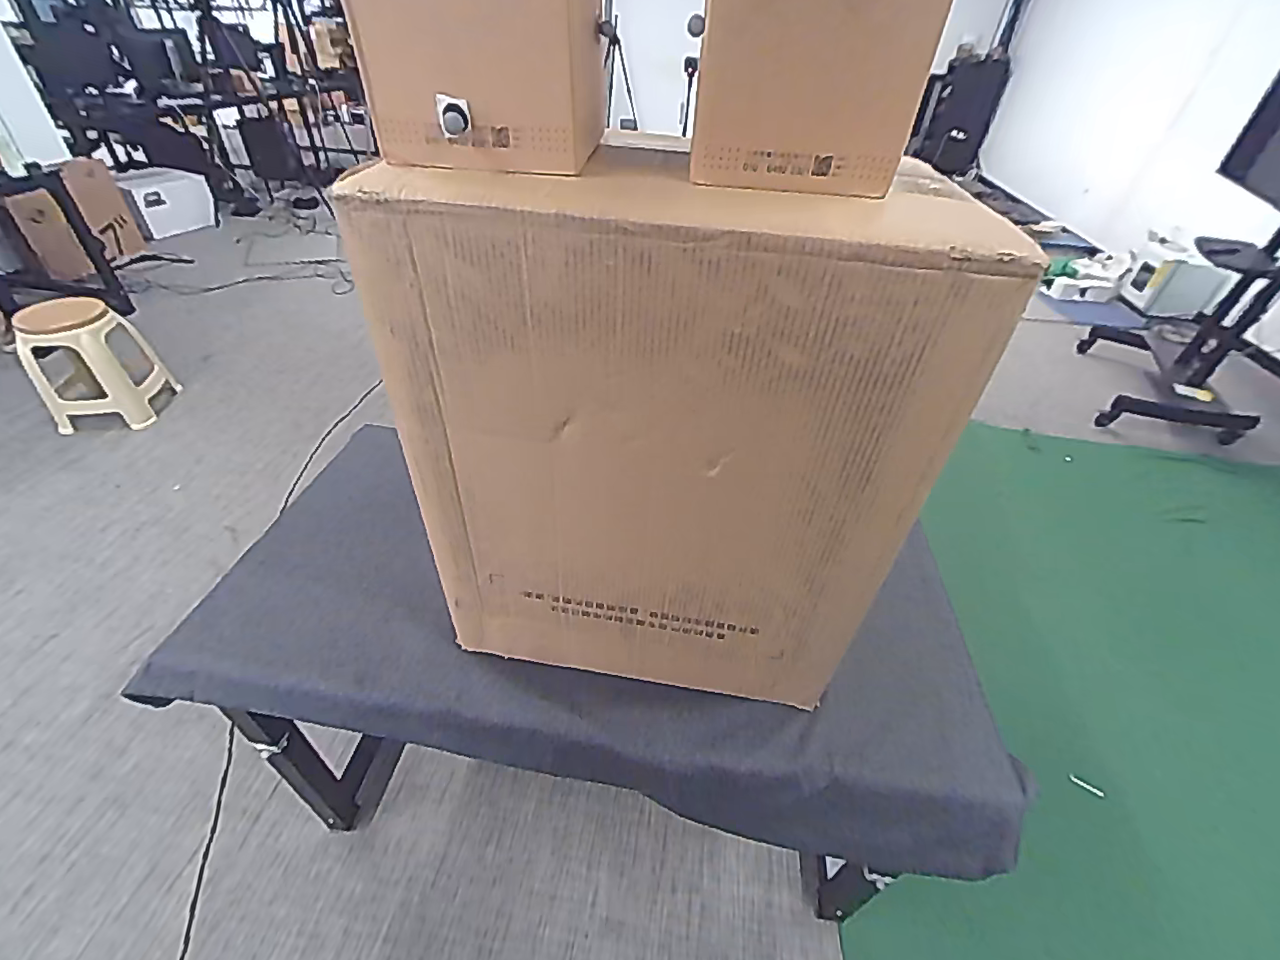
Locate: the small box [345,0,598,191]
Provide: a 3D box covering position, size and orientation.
[{"bbox_3d":[-0.129,-0.364,0.462,0.168,0.176,0.179,2,43,3],"label":"small box"}]

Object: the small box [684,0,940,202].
[{"bbox_3d":[0.126,-0.352,0.457,0.168,0.176,0.179,4,42,2],"label":"small box"}]
